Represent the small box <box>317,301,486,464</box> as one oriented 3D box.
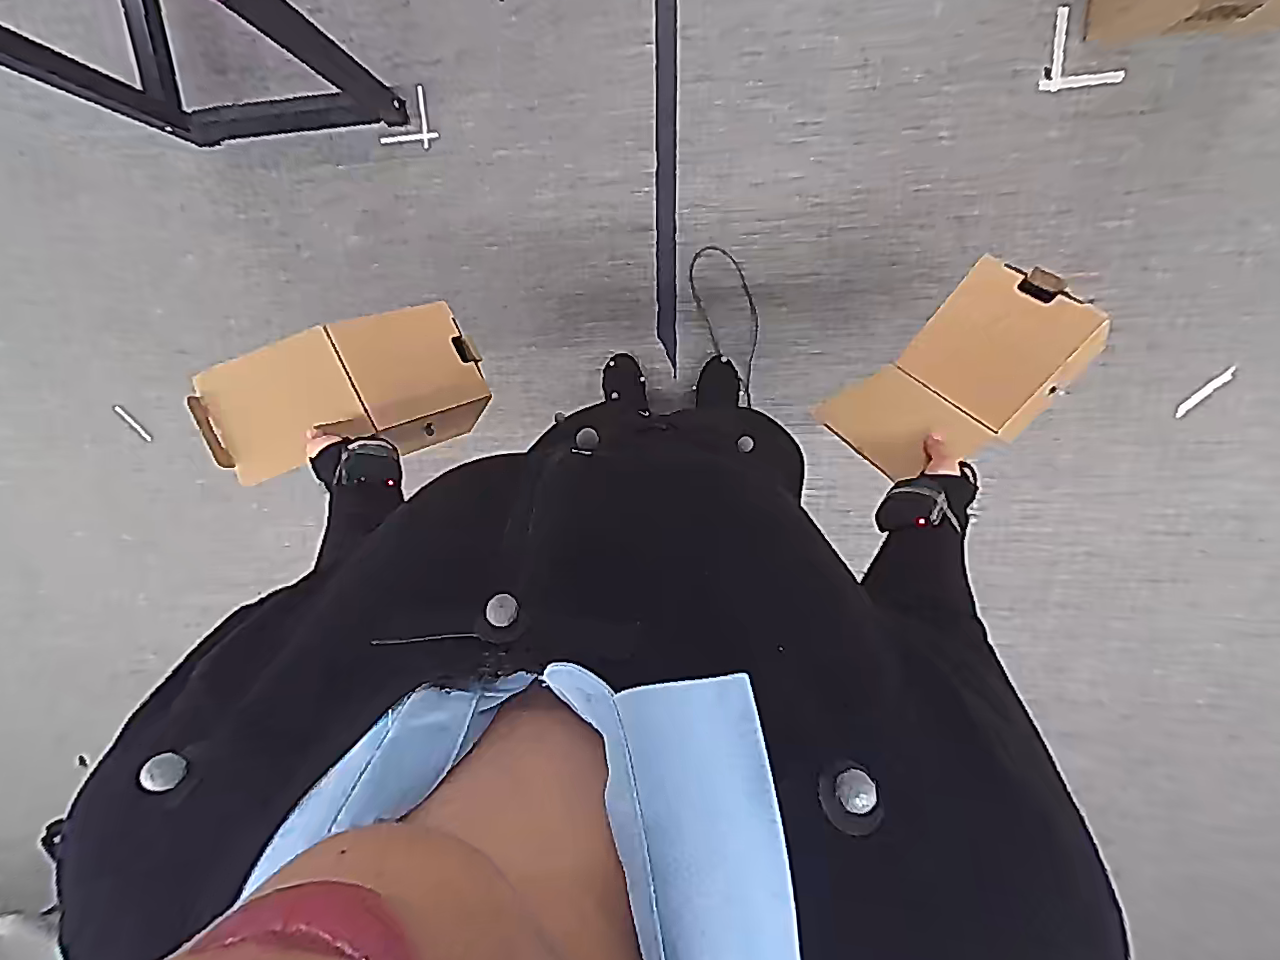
[{"bbox_3d":[-0.364,-0.142,0.826,0.179,0.176,0.168,-26,89,-32],"label":"small box"}]
